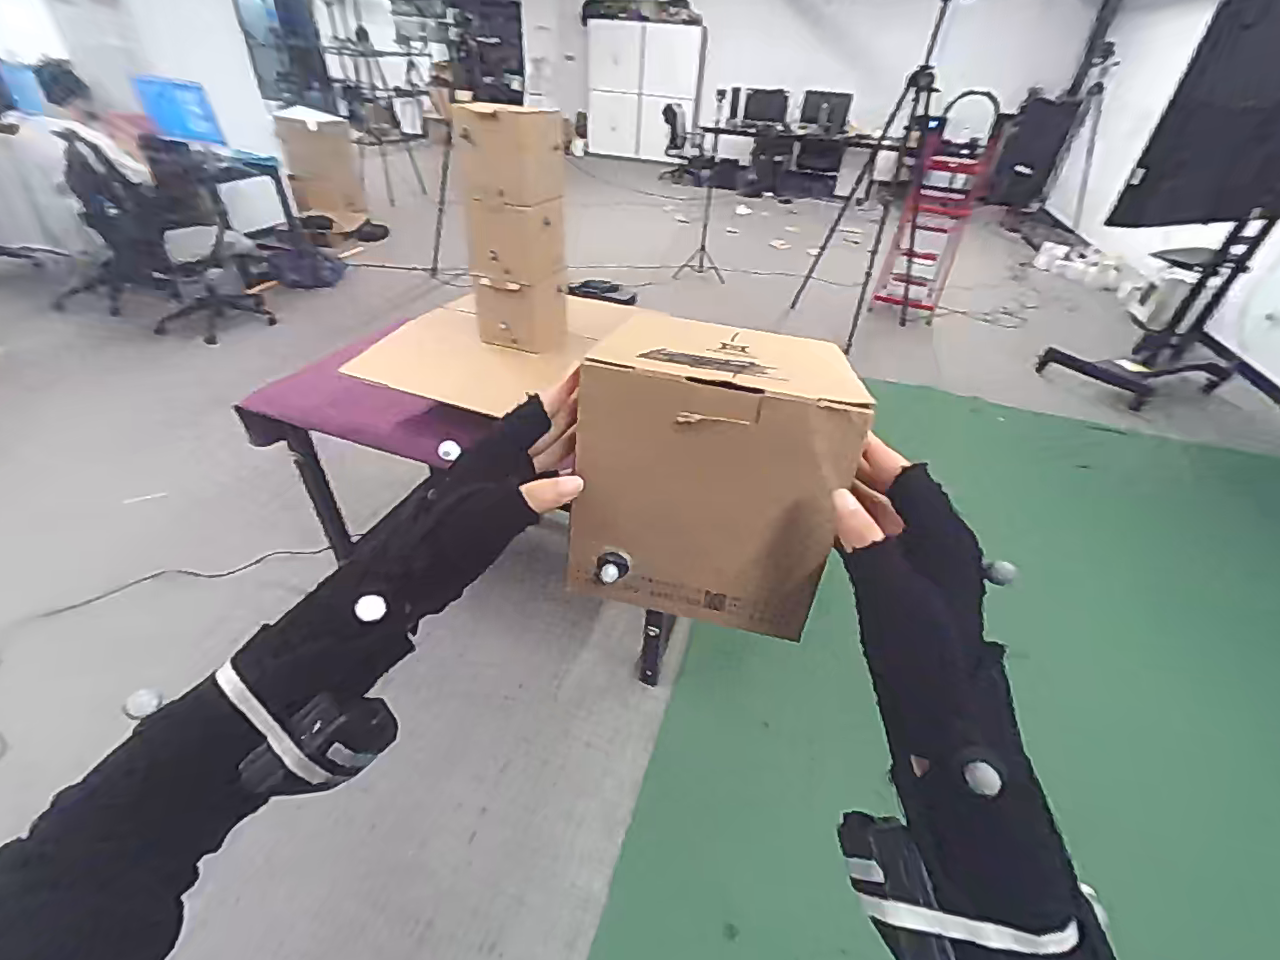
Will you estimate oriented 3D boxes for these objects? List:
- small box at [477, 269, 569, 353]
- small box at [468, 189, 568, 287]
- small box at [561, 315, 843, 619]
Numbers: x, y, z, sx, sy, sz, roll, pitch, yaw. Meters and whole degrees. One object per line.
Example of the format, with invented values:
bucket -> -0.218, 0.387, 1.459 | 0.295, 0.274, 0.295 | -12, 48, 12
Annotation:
small box -> -0.292, -0.445, 1.380 | 0.168, 0.176, 0.179 | 15, 38, 15
small box -> -0.284, -0.575, 1.282 | 0.168, 0.176, 0.179 | 16, 39, 14
small box -> 0.042, -0.020, 0.417 | 0.168, 0.176, 0.179 | 11, 26, 7
